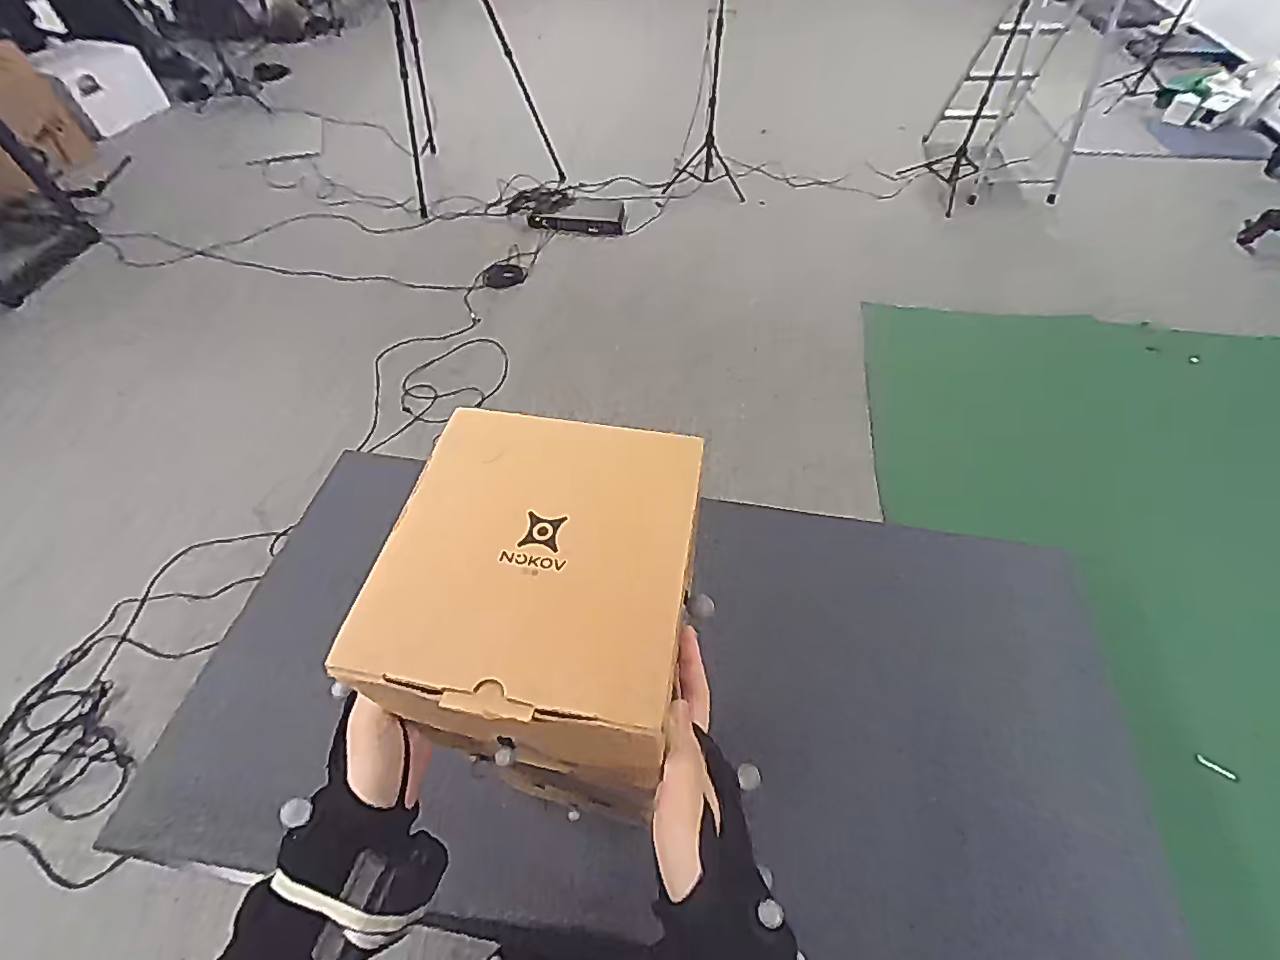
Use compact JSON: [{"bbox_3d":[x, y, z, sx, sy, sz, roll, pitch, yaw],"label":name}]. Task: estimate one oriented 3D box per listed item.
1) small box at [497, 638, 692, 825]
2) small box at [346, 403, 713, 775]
[{"bbox_3d":[-0.041,0.272,0.624,0.168,0.176,0.179,11,54,9],"label":"small box"},{"bbox_3d":[-0.048,0.076,0.363,0.168,0.176,0.179,7,54,6],"label":"small box"}]
